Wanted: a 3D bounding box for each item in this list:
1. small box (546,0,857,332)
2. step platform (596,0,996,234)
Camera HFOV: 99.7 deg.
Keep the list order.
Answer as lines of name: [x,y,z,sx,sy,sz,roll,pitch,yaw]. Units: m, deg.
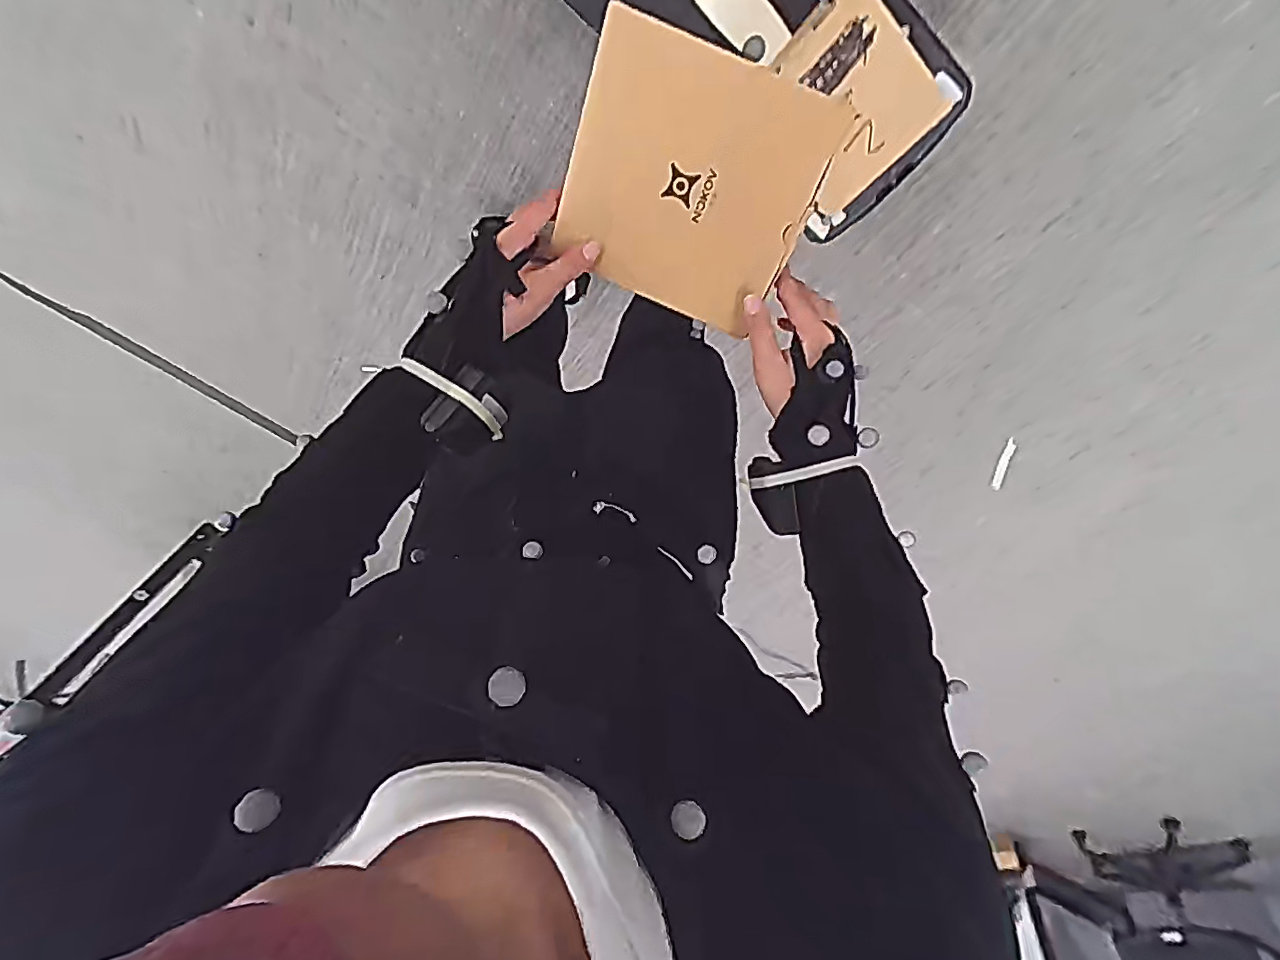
small box: [0.046,-0.250,0.450,0.179,0.176,0.168,22,123,-2]
step platform: [0.171,-0.683,0.765,0.684,0.204,0.286,34,128,-17]
